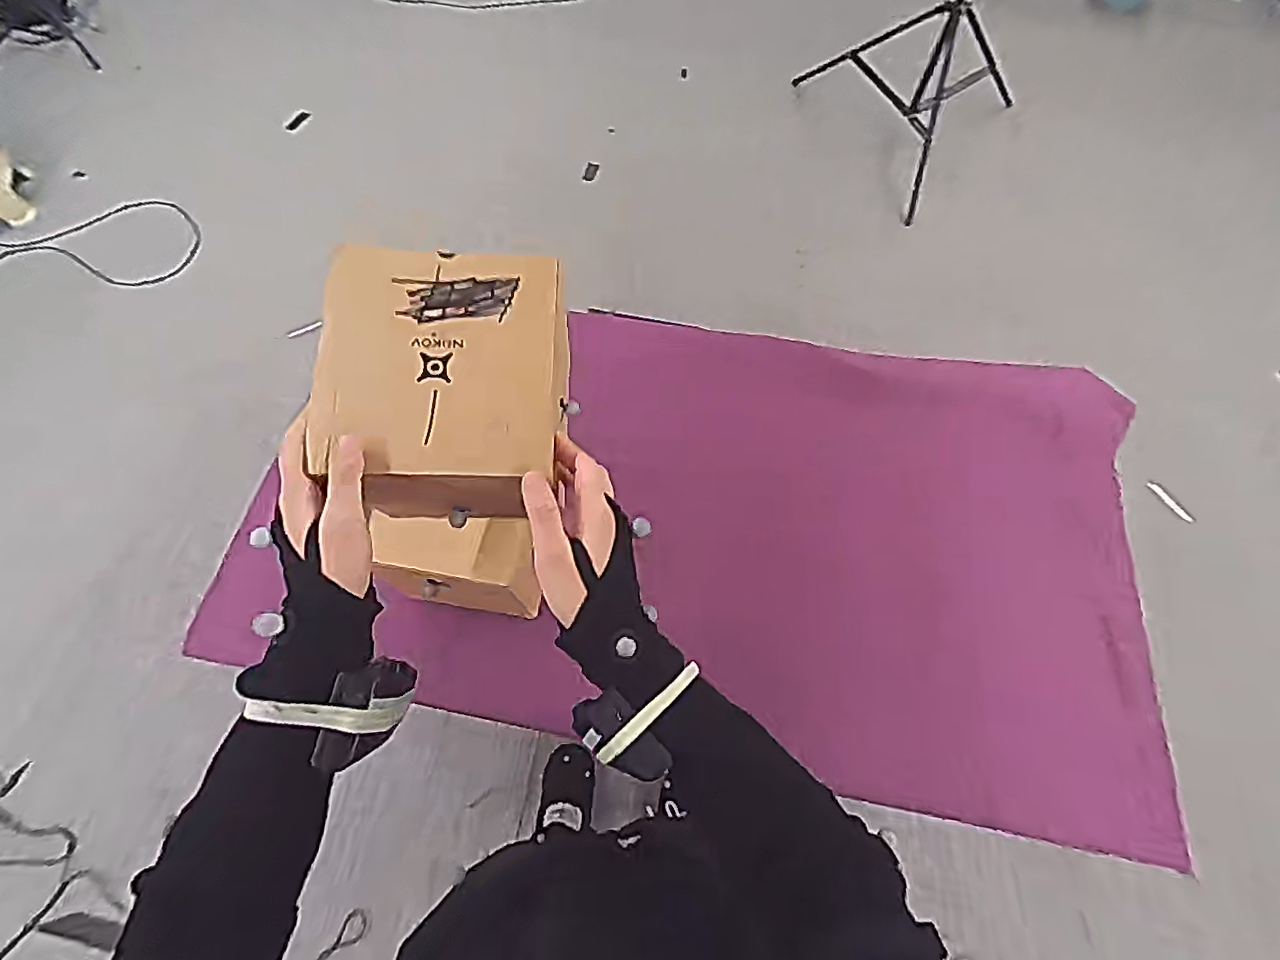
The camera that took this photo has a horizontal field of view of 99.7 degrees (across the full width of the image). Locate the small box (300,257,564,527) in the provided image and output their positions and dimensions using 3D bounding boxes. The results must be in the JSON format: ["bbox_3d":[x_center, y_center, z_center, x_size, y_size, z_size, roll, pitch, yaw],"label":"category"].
[{"bbox_3d":[-0.155,-0.062,0.470,0.168,0.176,0.179,1,75,-4],"label":"small box"}]

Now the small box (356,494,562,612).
[{"bbox_3d":[-0.204,0.060,0.674,0.179,0.176,0.168,9,65,5],"label":"small box"}]
